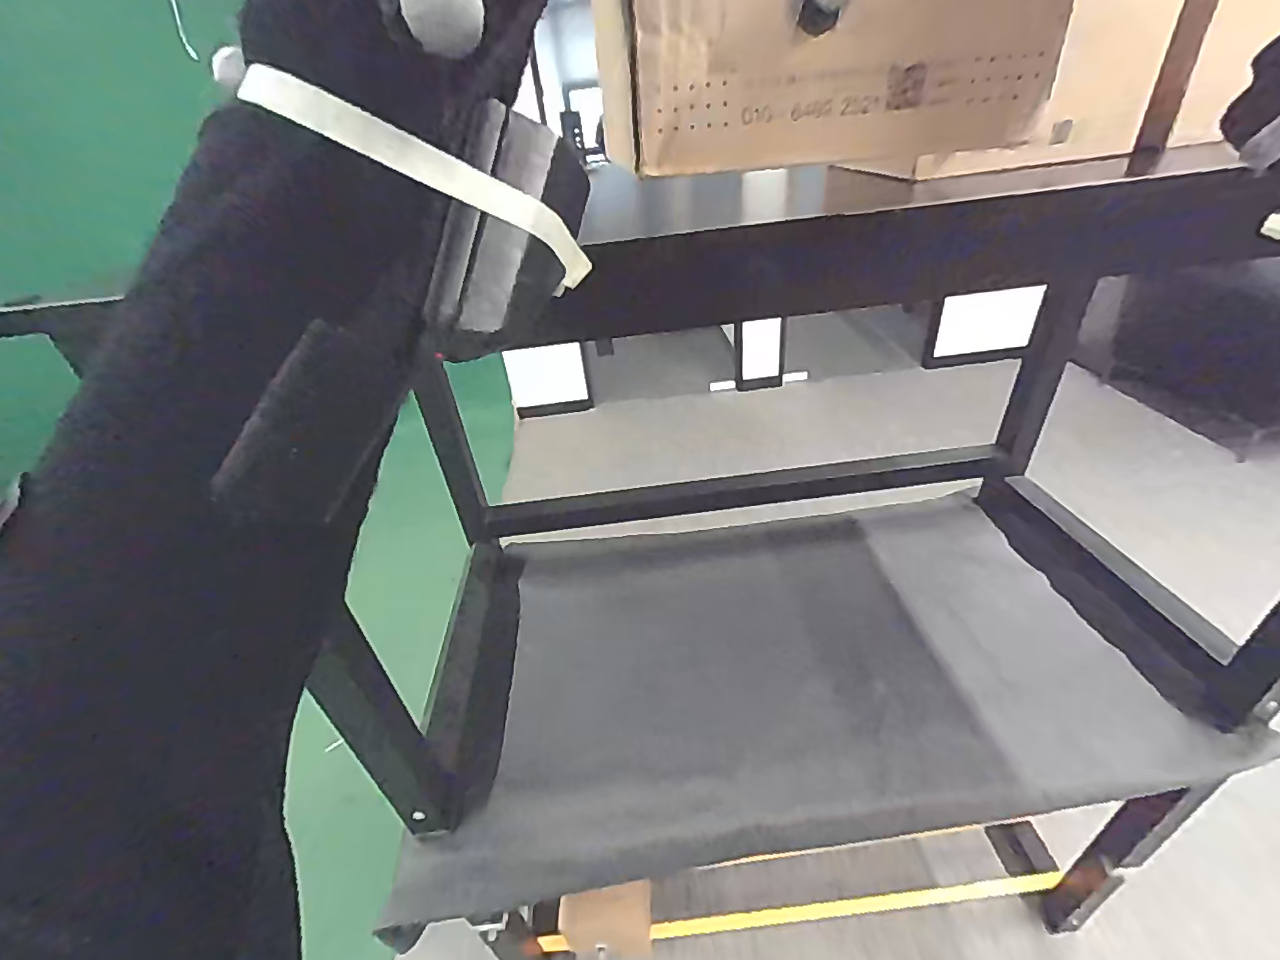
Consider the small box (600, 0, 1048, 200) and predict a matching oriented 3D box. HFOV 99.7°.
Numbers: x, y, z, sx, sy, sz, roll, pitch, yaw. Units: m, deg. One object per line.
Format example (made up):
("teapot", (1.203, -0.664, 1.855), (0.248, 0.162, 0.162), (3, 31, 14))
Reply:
("small box", (0.065, -0.237, 0.257), (0.168, 0.176, 0.179), (-7, 34, -3))
